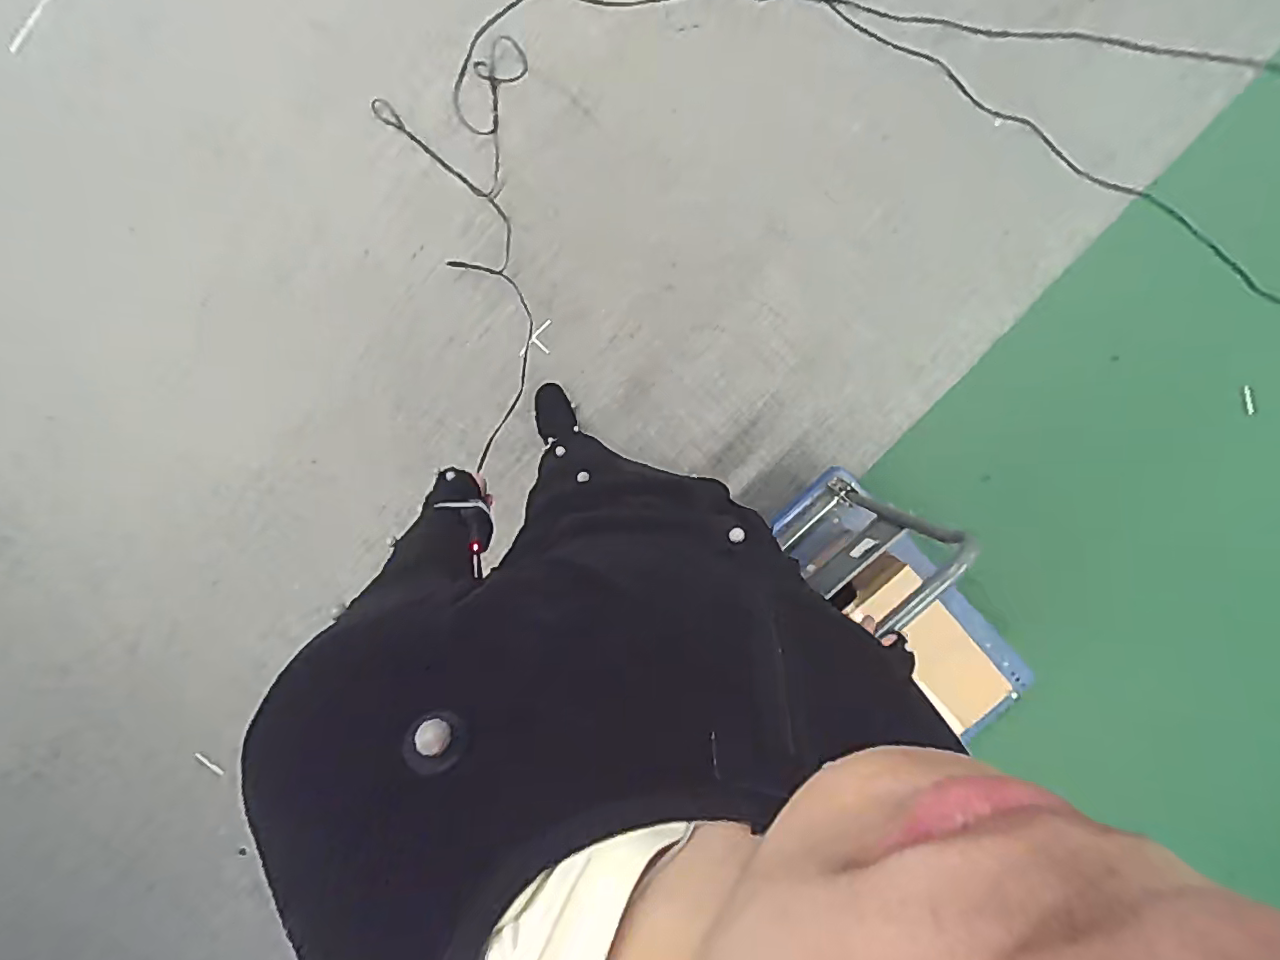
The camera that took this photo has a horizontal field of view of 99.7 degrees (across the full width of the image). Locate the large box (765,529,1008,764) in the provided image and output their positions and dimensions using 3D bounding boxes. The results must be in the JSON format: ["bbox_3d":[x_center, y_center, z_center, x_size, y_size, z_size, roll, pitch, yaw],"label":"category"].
[{"bbox_3d":[0.587,0.393,1.358,0.320,0.320,0.408,-42,99,5],"label":"large box"}]
